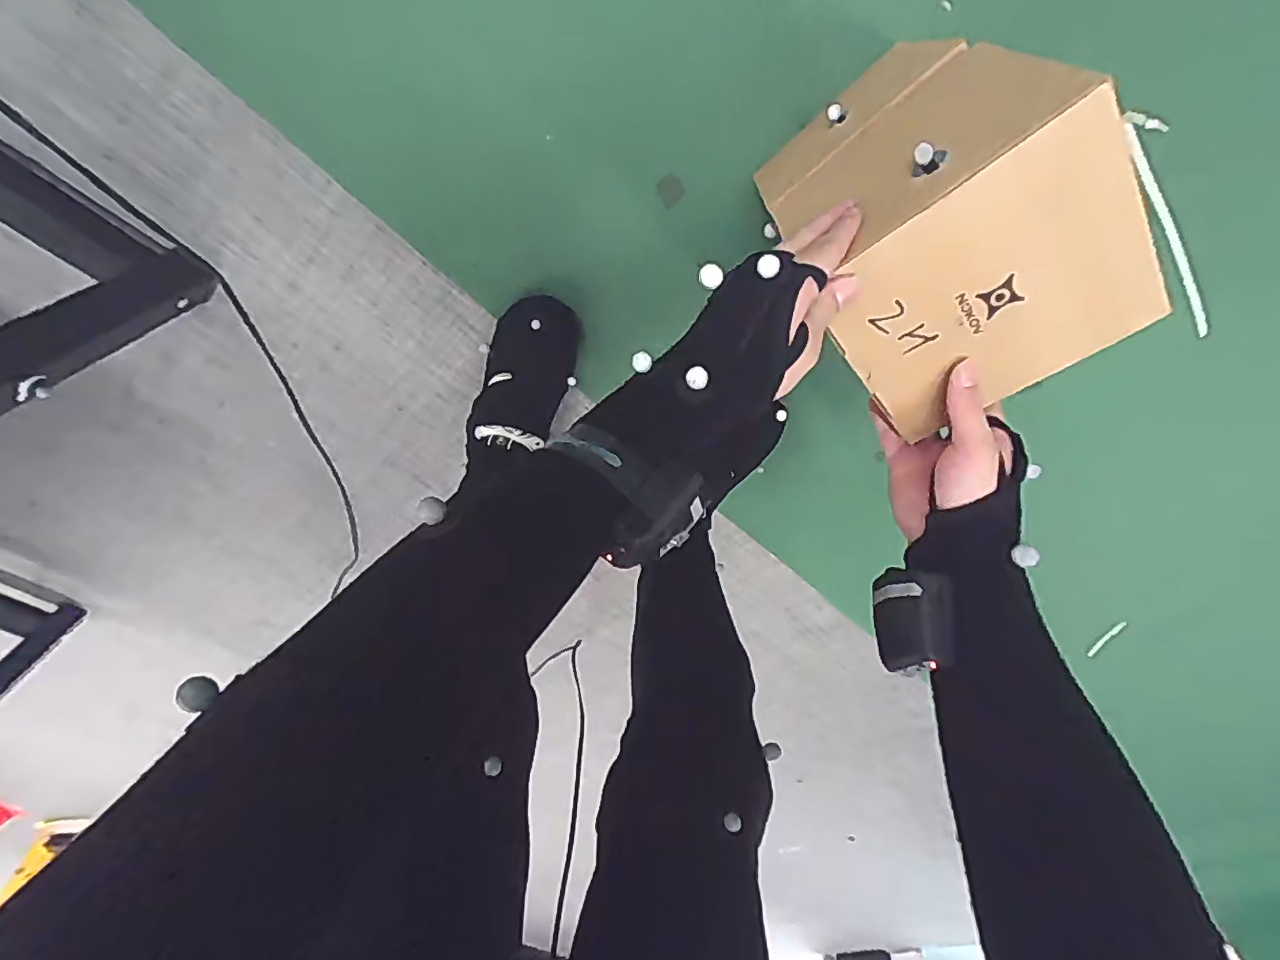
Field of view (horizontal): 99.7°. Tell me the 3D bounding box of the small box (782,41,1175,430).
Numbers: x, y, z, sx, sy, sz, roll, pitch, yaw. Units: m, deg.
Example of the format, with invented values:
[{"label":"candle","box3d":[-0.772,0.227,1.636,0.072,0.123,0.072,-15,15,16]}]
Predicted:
[{"label":"small box","box3d":[0.228,-0.178,0.403,0.179,0.176,0.168,-31,124,30]}]
